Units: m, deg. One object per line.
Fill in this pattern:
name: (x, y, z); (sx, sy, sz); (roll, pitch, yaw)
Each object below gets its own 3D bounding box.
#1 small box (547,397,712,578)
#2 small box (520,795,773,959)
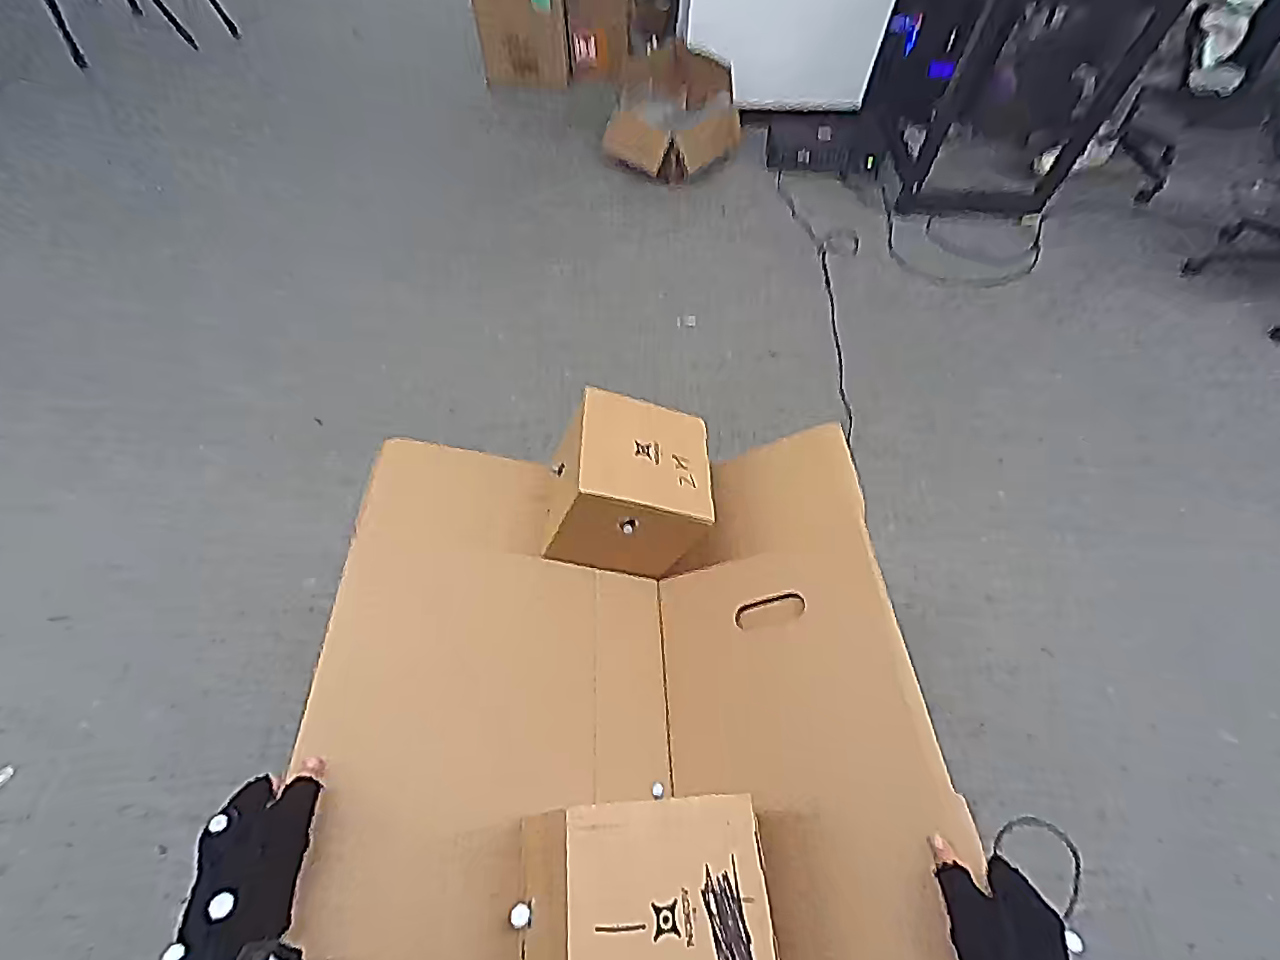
small box: (-0.020, 0.019, 0.746); (0.179, 0.176, 0.168); (15, 52, -18)
small box: (-0.004, 0.389, 0.493); (0.179, 0.176, 0.168); (9, 55, -20)
